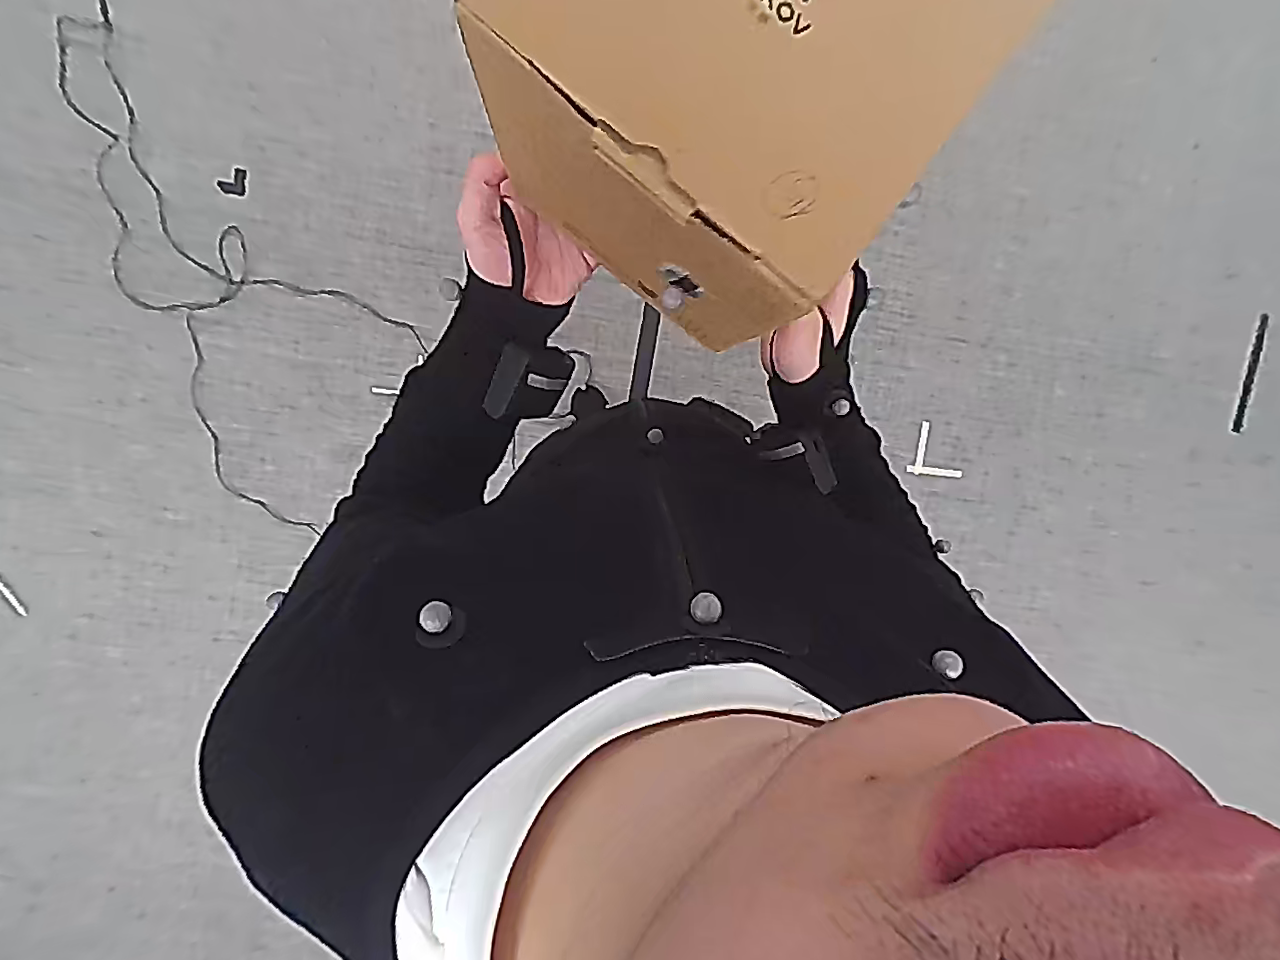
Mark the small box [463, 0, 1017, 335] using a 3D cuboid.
[{"bbox_3d":[0.040,-0.198,0.281,0.168,0.176,0.179,34,91,-10],"label":"small box"}]
